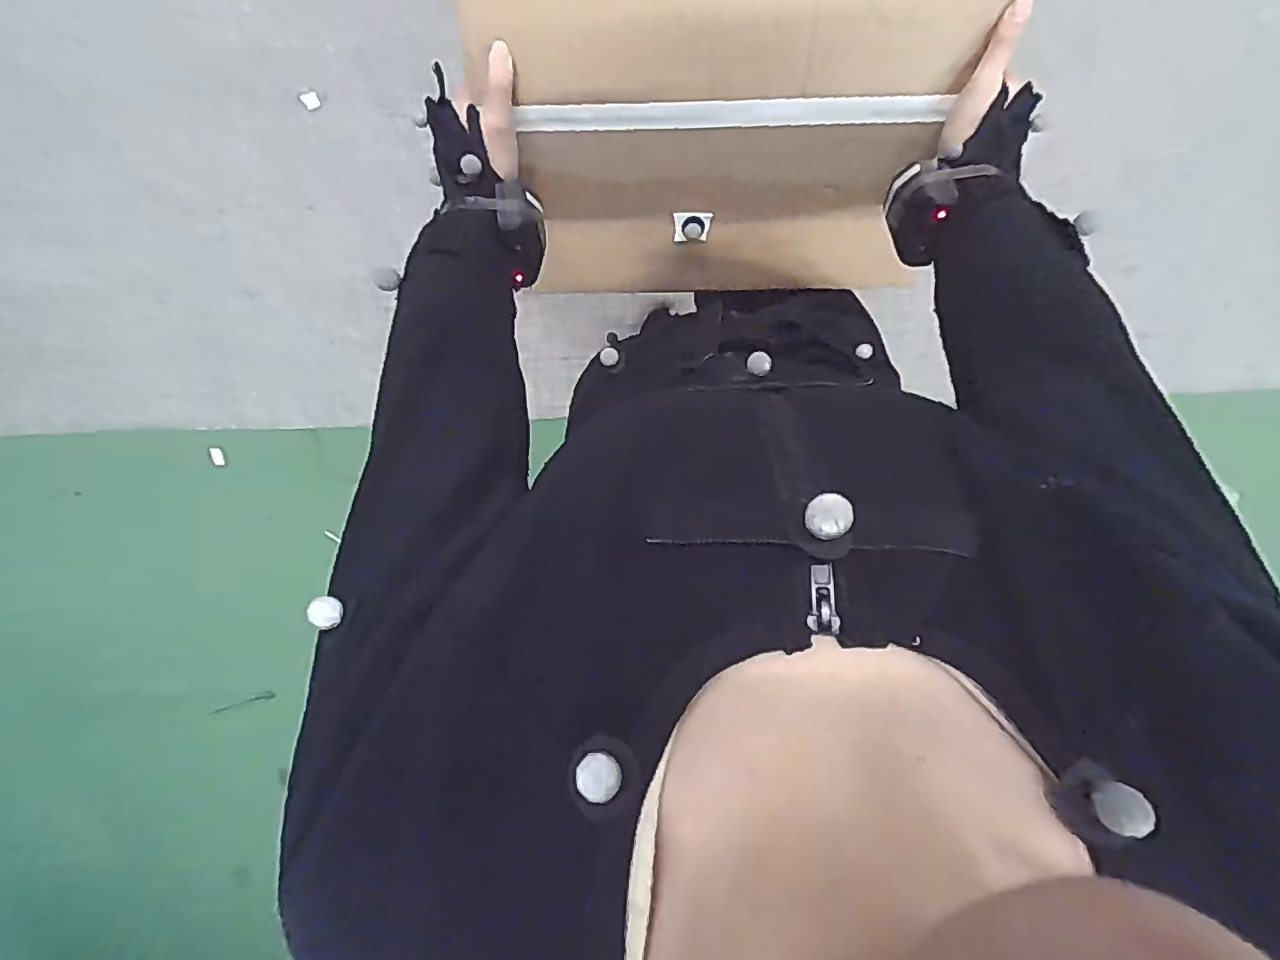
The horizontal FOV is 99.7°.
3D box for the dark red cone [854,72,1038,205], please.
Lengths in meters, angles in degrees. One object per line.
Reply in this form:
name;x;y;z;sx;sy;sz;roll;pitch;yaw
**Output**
dark red cone;0.515;-0.588;0.904;0.202;0.394;0.201;-8;115;5
